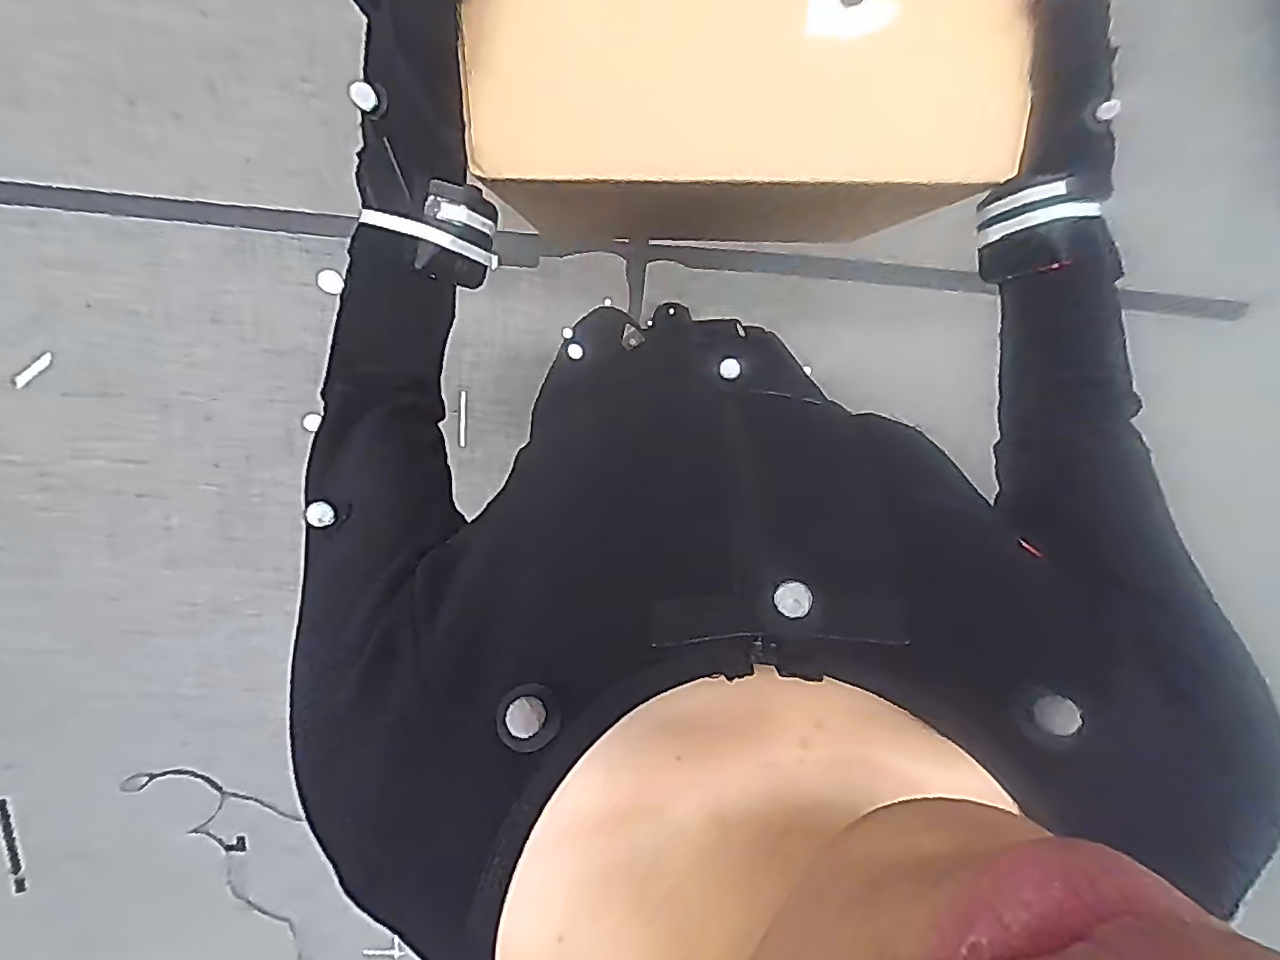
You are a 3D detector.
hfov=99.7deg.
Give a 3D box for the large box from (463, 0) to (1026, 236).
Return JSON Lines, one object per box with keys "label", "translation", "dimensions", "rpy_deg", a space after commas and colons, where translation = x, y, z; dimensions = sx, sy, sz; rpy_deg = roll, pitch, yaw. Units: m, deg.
{"label": "large box", "translation": [0.071, -0.423, 0.508], "dimensions": [0.408, 0.320, 0.320], "rpy_deg": [0, 106, -1]}
